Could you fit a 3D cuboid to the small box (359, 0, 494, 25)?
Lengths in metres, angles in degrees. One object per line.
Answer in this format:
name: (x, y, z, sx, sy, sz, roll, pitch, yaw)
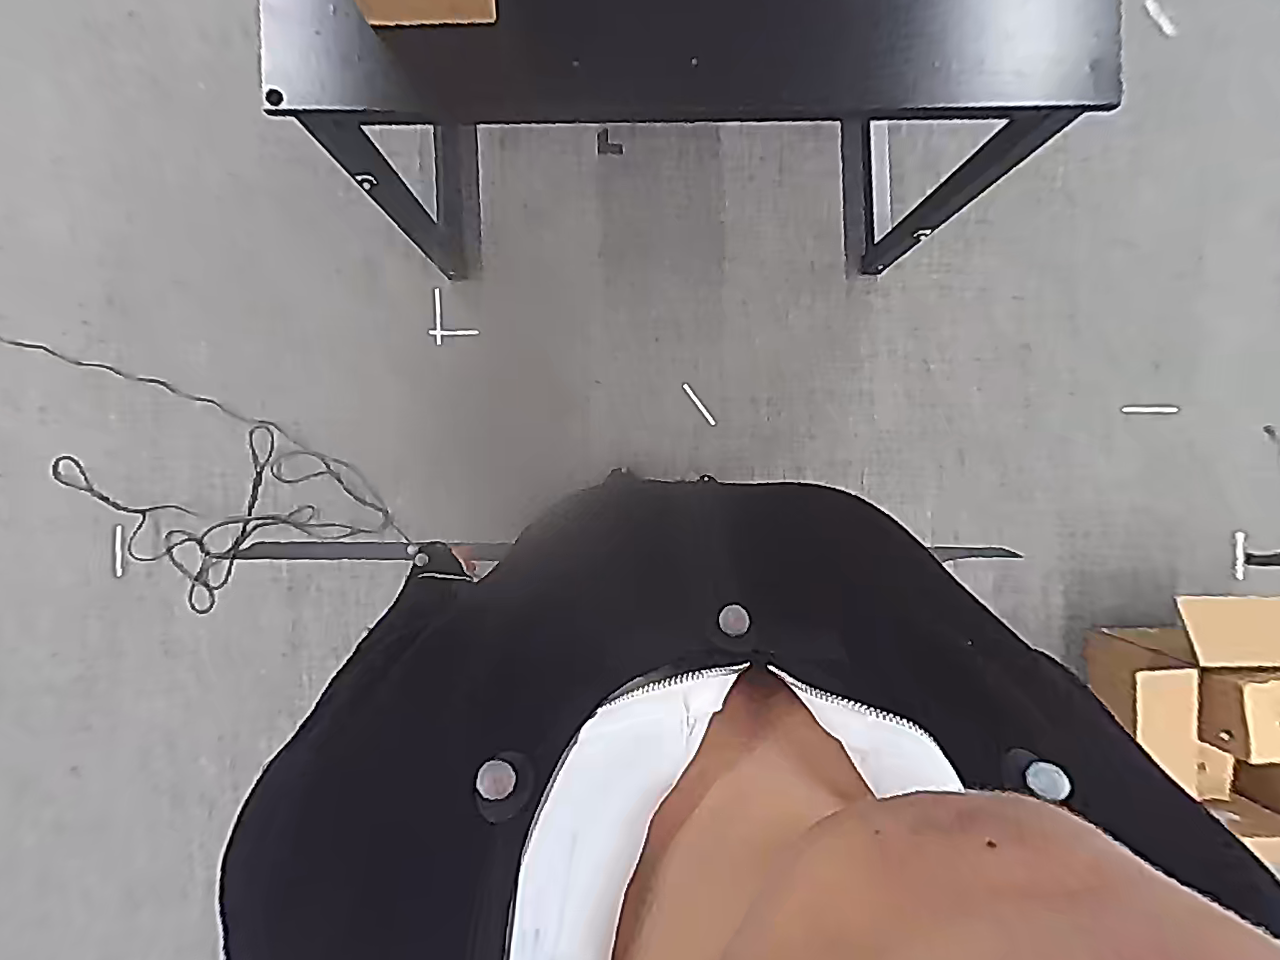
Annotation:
small box: (-0.292, -0.710, 0.669, 0.179, 0.176, 0.168, -3, 91, -1)
